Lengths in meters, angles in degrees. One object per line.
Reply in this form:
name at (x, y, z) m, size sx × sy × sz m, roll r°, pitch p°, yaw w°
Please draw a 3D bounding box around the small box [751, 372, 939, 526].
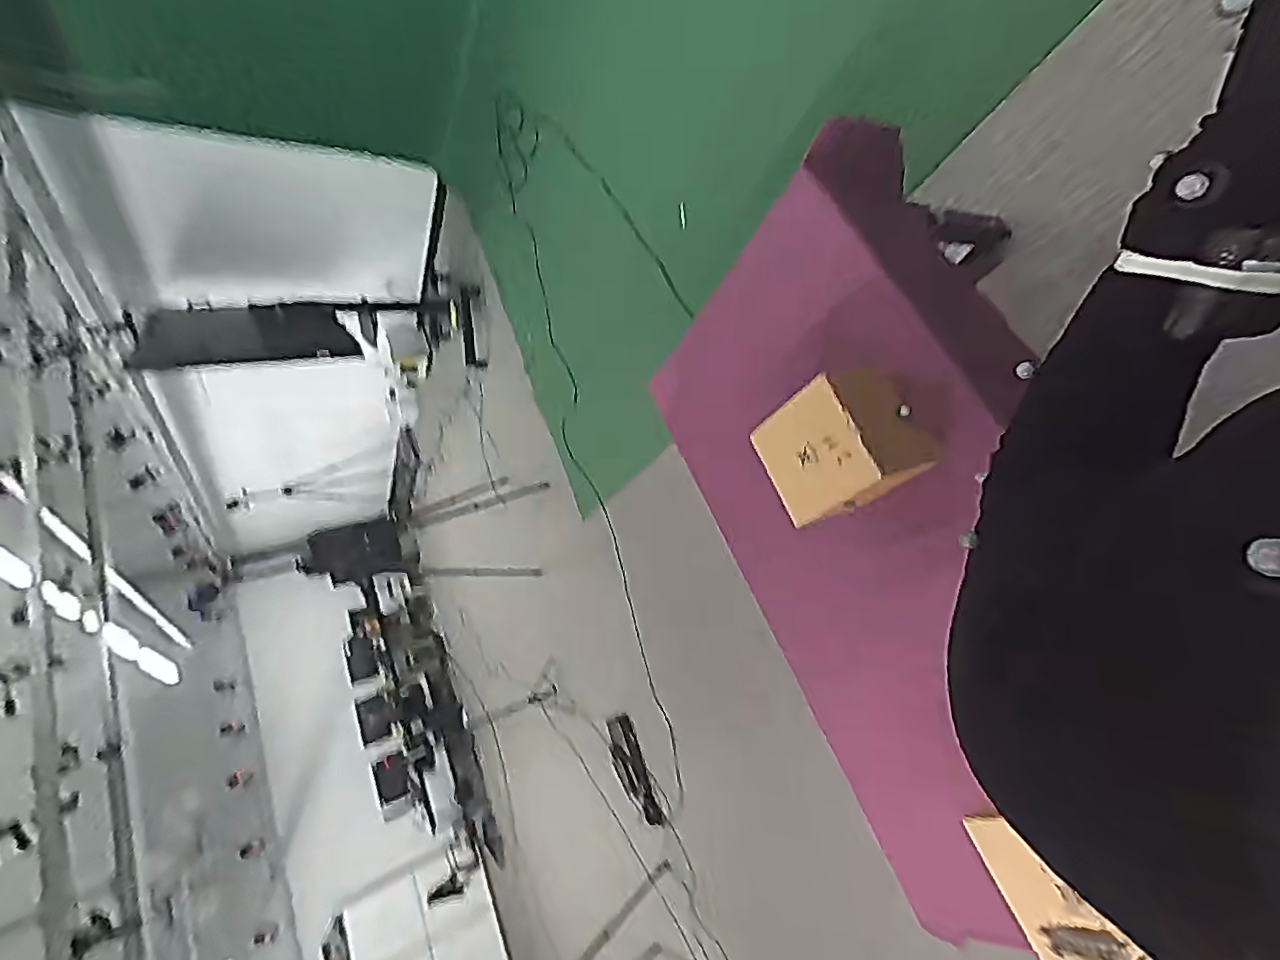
small box at (0.312, -0.049, 0.835) m, size 0.179 × 0.176 × 0.168 m, roll -46°, pitch 63°, yaw 52°
